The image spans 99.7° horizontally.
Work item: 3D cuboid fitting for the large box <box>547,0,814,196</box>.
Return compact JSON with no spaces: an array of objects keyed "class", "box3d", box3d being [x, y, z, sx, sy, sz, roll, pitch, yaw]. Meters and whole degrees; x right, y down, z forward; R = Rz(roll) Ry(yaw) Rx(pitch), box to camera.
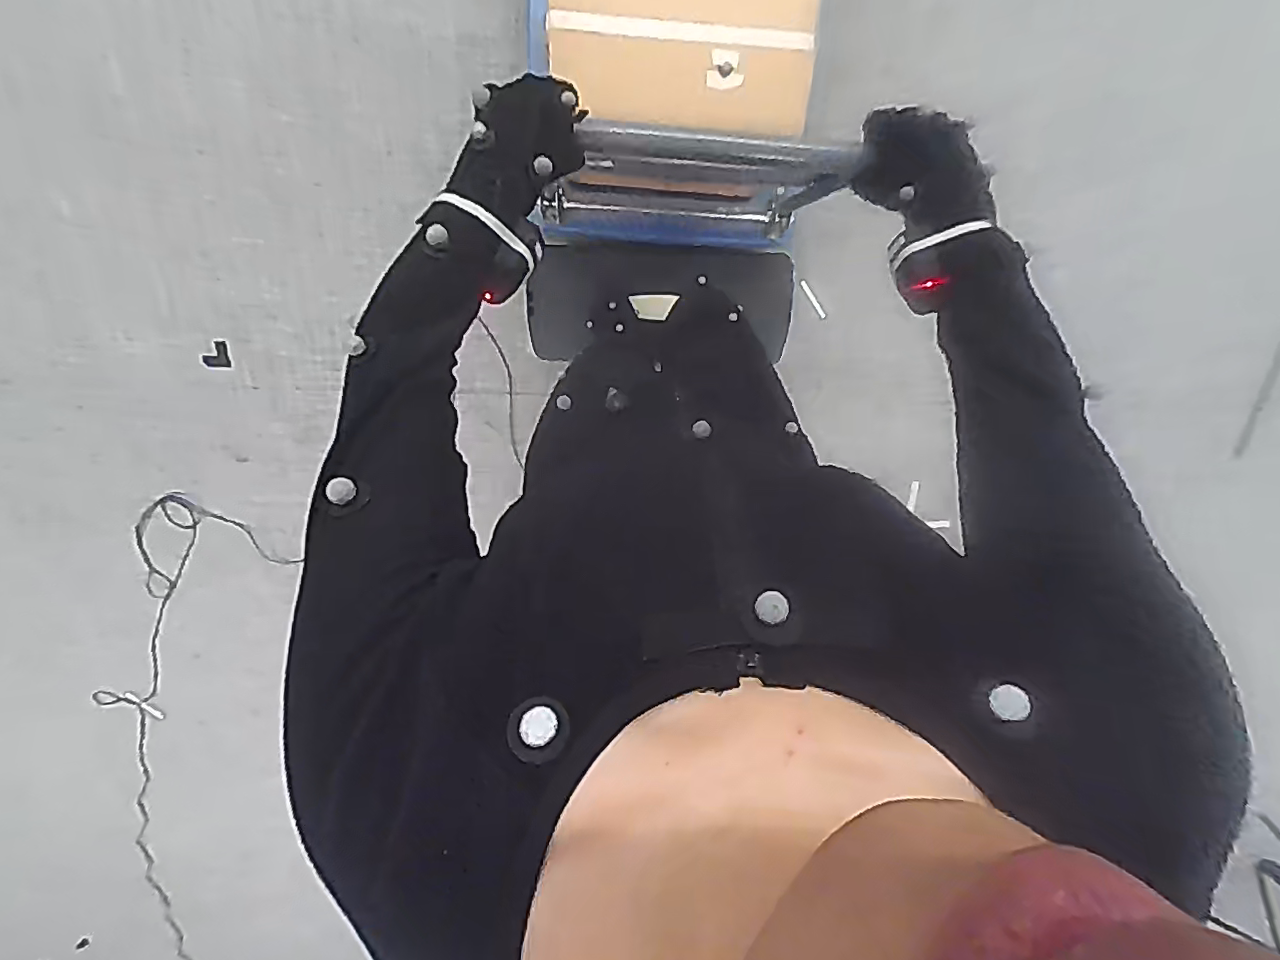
[{"class":"large box","box3d":[0.050,-0.709,0.957,0.408,0.320,0.320,1,108,-5]}]
